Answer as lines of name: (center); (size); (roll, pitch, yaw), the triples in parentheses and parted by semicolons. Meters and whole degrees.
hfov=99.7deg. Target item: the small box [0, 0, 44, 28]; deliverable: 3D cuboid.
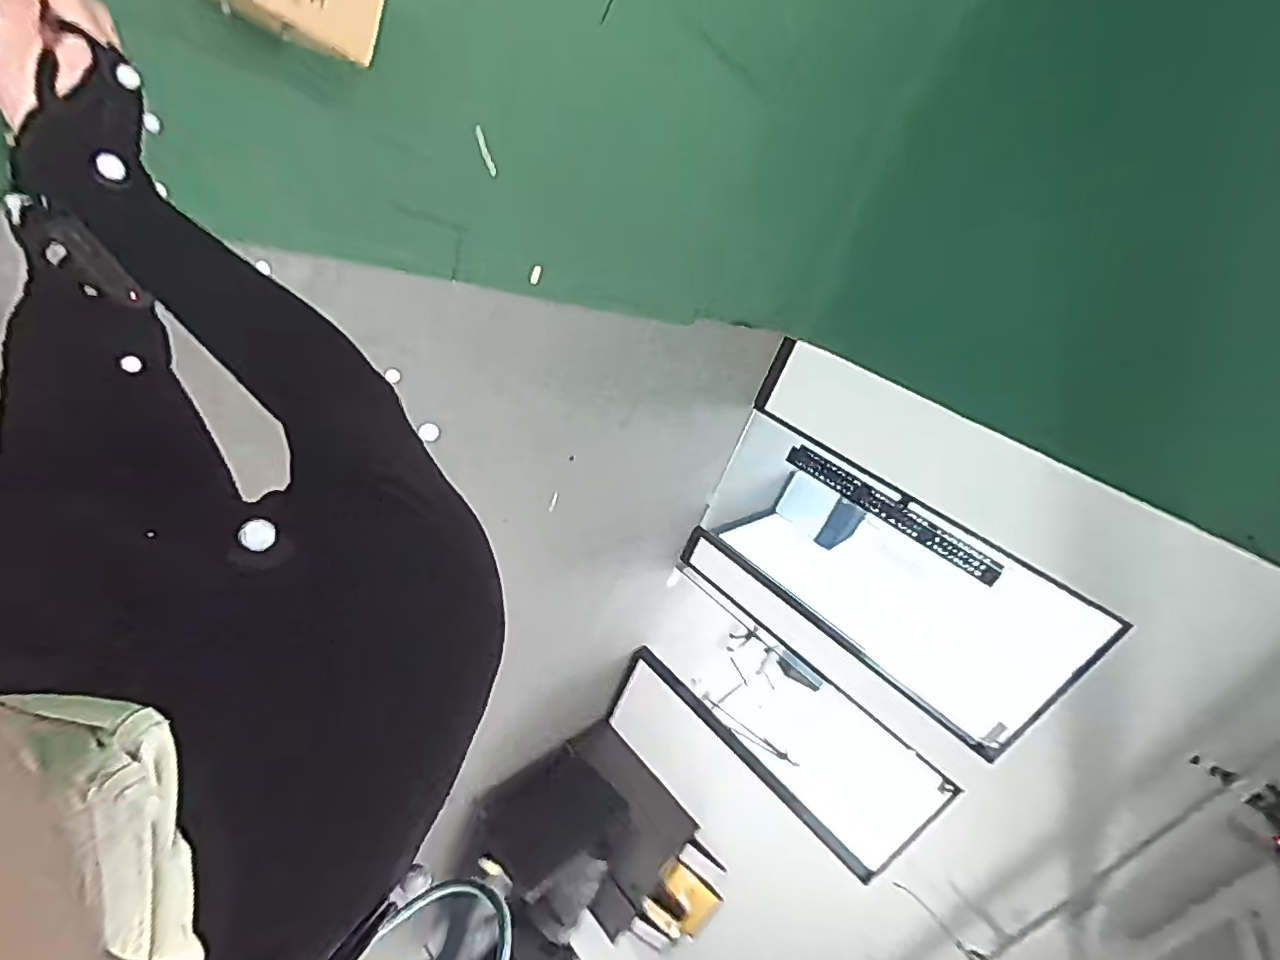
small box: (-0.503, -0.418, 0.330); (0.168, 0.176, 0.179); (-13, 122, -49)

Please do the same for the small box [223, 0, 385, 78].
small box: (-0.515, -0.769, 0.829); (0.168, 0.176, 0.179); (-2, 123, -53)
